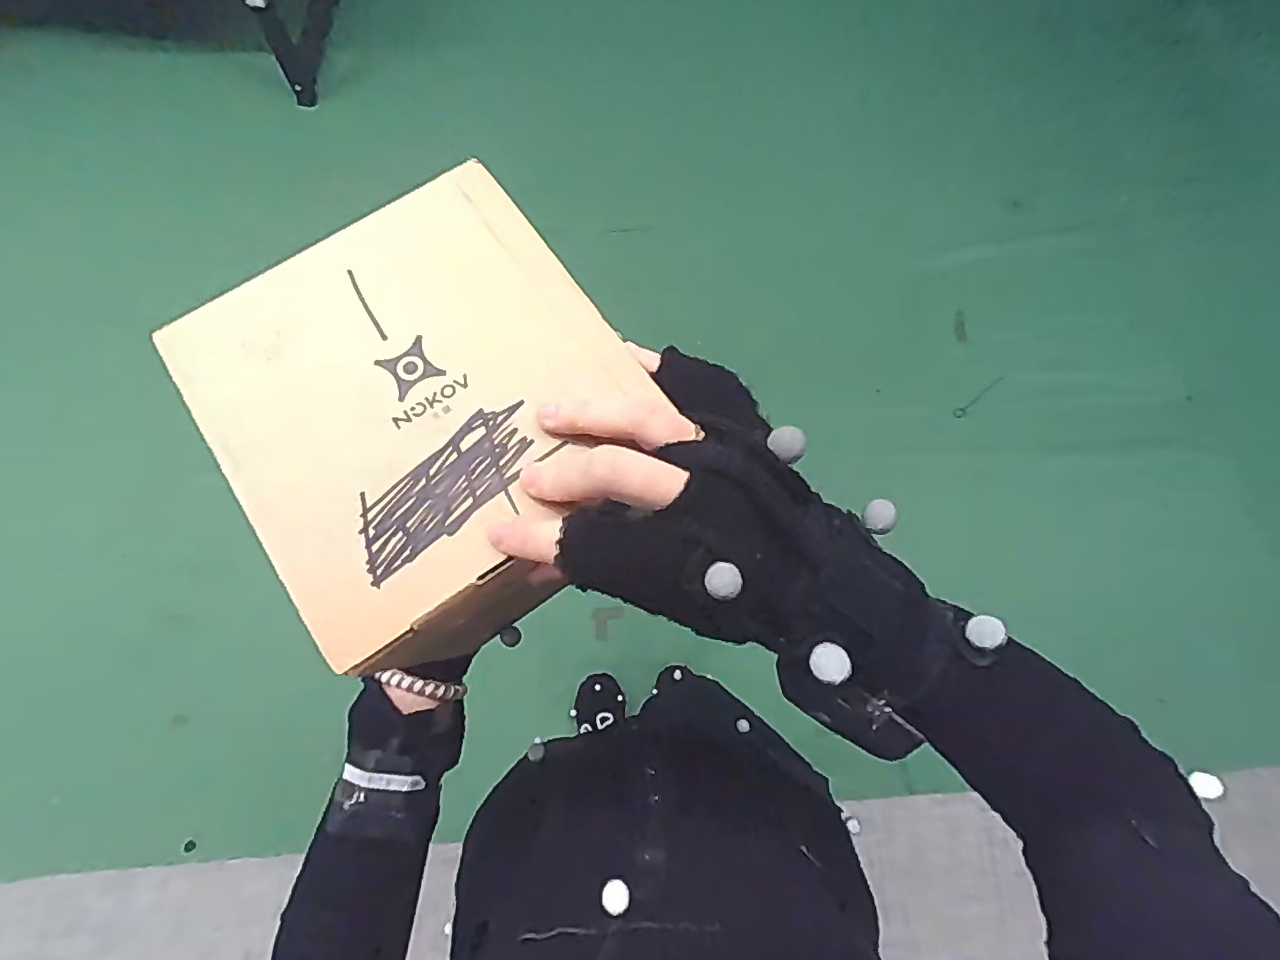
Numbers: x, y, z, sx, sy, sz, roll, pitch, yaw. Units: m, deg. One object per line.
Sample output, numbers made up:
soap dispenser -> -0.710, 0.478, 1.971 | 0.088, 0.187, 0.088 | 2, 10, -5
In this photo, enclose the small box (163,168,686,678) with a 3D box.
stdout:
small box -> -0.093, -0.018, 0.308 | 0.168, 0.176, 0.179 | -35, 78, -9
